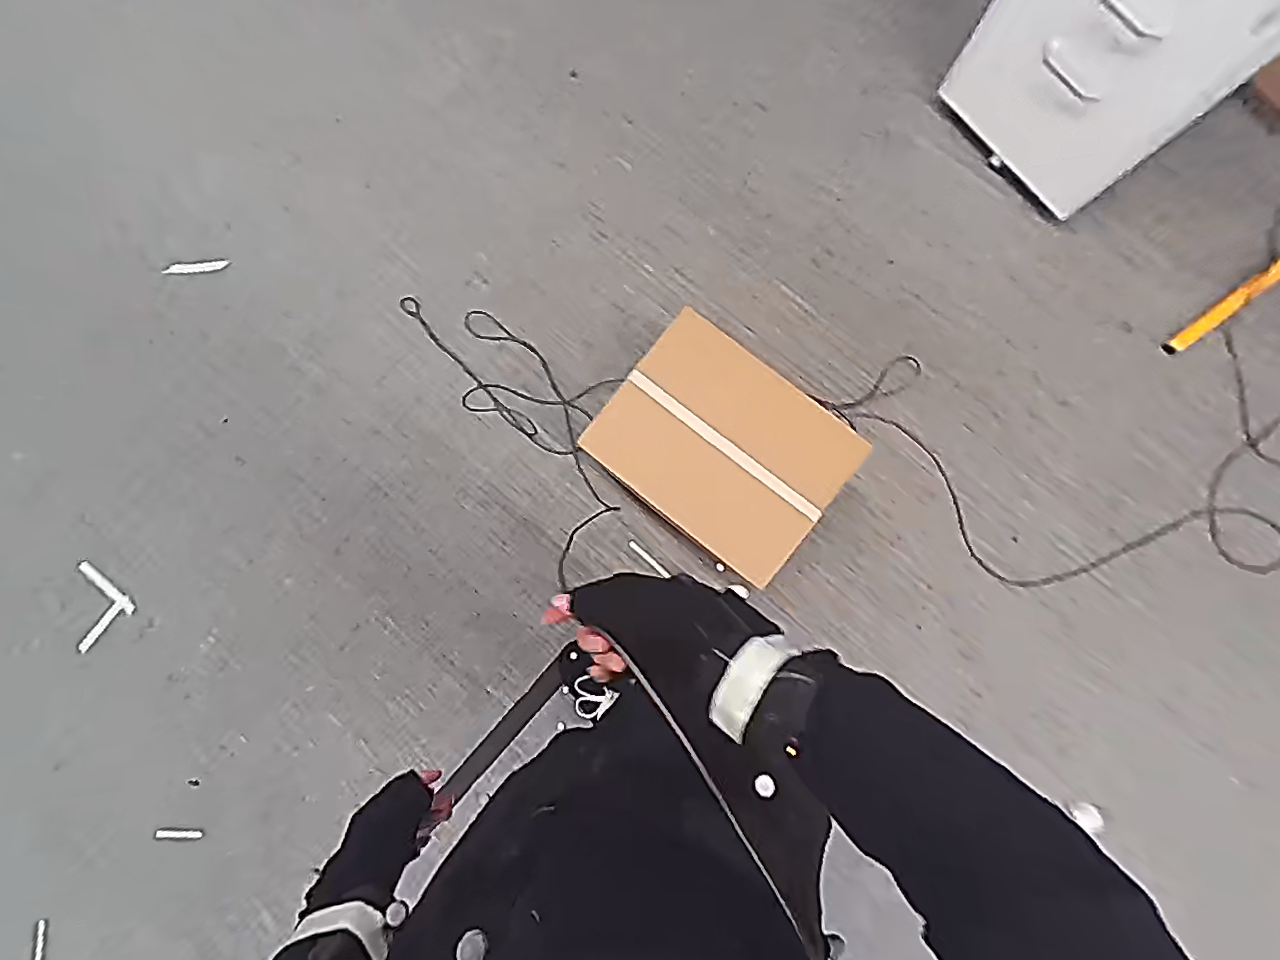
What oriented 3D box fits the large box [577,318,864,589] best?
[{"bbox_3d":[0.145,-0.038,1.080,0.408,0.320,0.320,39,87,5],"label":"large box"}]
